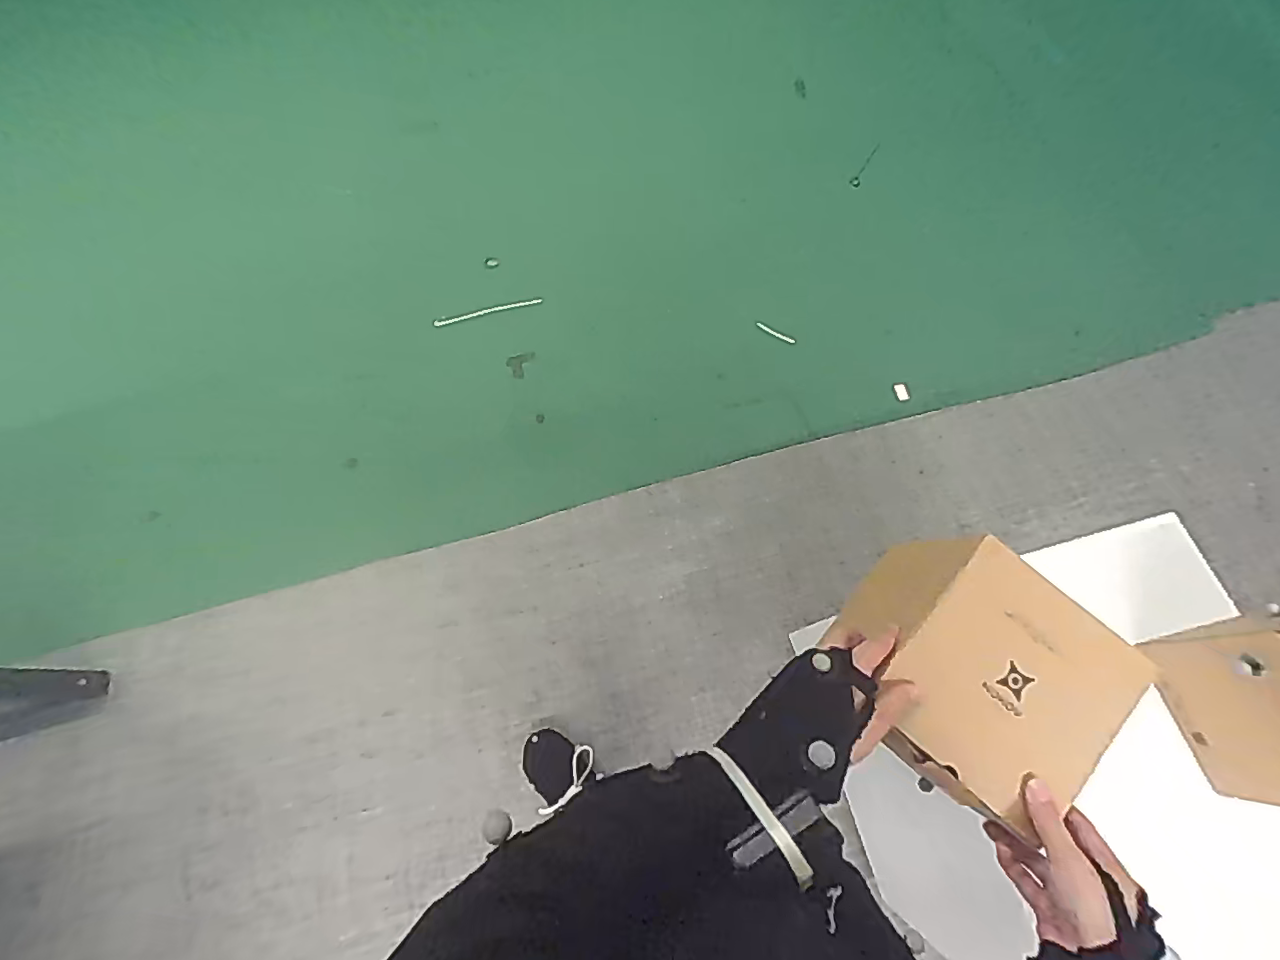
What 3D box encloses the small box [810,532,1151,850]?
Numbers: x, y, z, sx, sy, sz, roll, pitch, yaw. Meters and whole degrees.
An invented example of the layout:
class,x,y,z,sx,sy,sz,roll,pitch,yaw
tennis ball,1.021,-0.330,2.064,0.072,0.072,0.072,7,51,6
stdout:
class,x,y,z,sx,sy,sz,roll,pitch,yaw
small box,0.280,0.172,0.494,0.168,0.176,0.179,40,80,6
